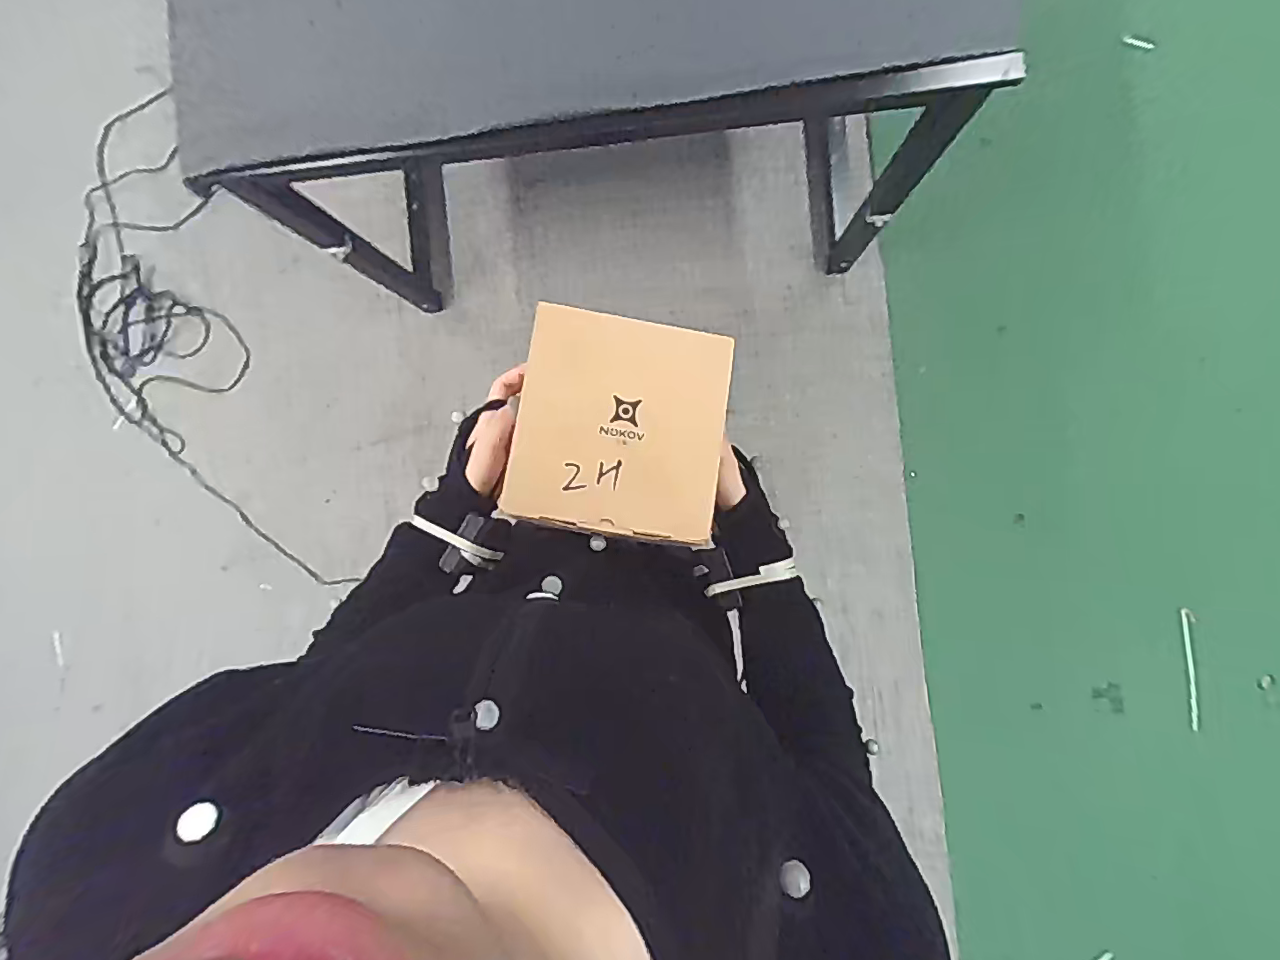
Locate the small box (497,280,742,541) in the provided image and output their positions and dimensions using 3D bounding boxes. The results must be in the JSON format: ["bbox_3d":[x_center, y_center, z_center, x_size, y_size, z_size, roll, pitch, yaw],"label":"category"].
[{"bbox_3d":[-0.021,-0.045,0.490,0.168,0.176,0.179,11,81,-5],"label":"small box"}]
